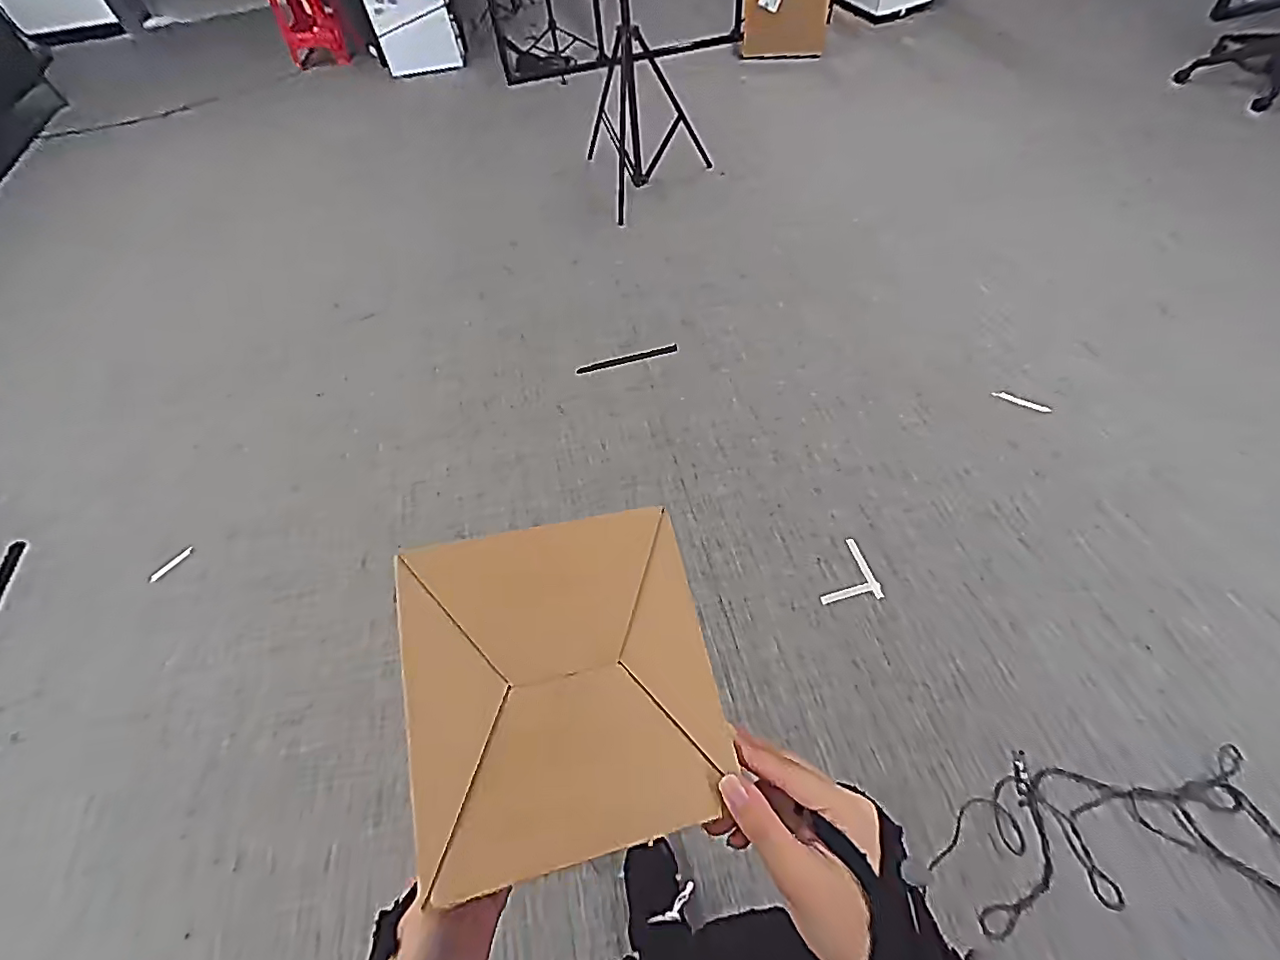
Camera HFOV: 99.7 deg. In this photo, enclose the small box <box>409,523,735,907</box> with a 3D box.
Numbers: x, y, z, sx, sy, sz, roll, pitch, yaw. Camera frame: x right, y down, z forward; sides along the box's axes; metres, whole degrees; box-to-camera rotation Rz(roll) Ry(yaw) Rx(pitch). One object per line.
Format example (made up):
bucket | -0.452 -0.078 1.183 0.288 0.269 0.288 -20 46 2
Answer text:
small box | -0.052 0.144 0.370 0.168 0.176 0.179 -9 66 -14
